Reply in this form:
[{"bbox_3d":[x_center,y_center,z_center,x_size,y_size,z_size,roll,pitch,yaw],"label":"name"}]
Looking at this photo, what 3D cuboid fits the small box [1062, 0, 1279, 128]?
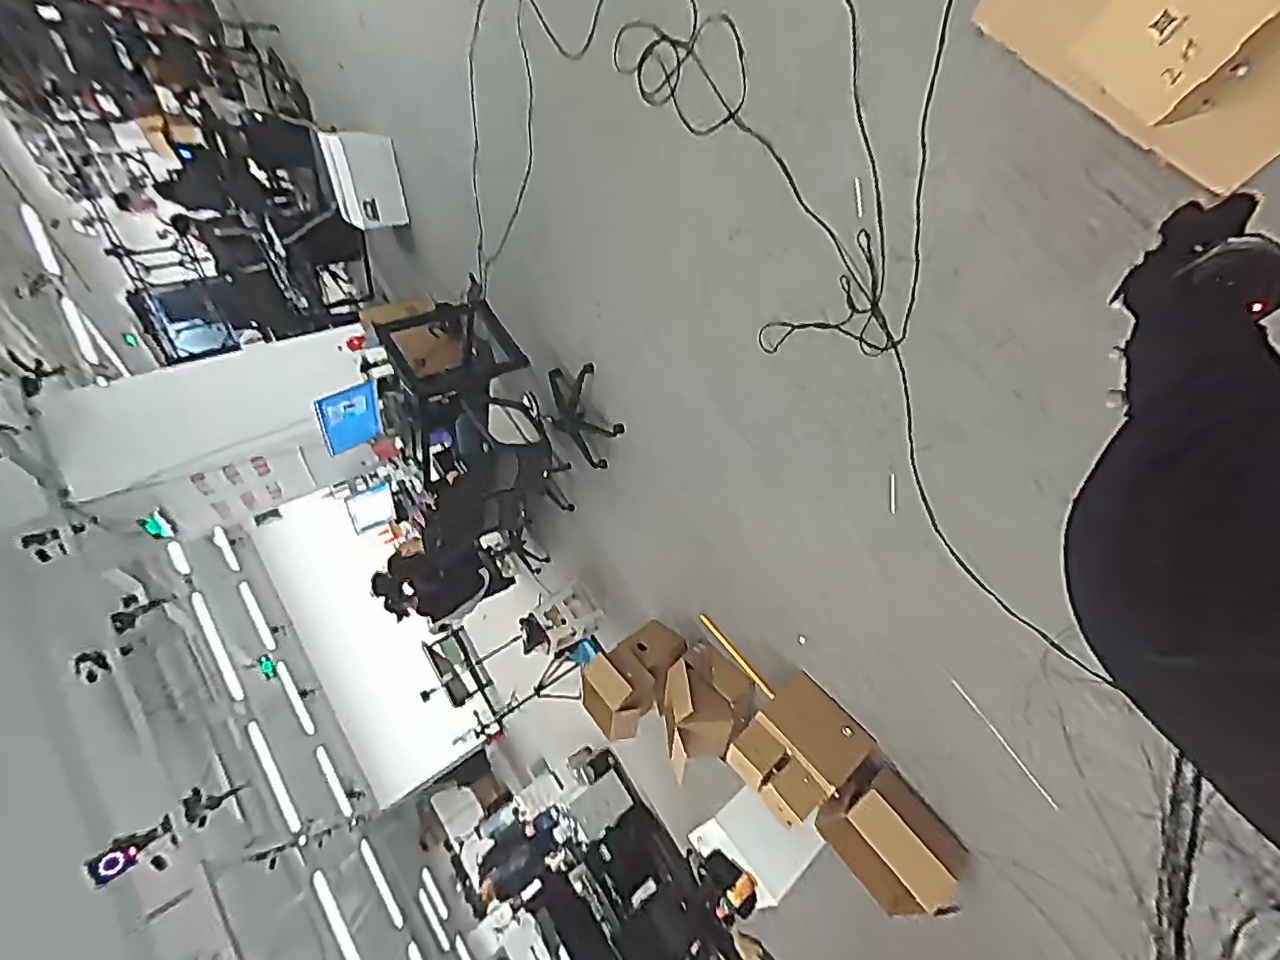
[{"bbox_3d":[0.776,-0.645,0.779,0.179,0.176,0.168,54,149,13],"label":"small box"}]
